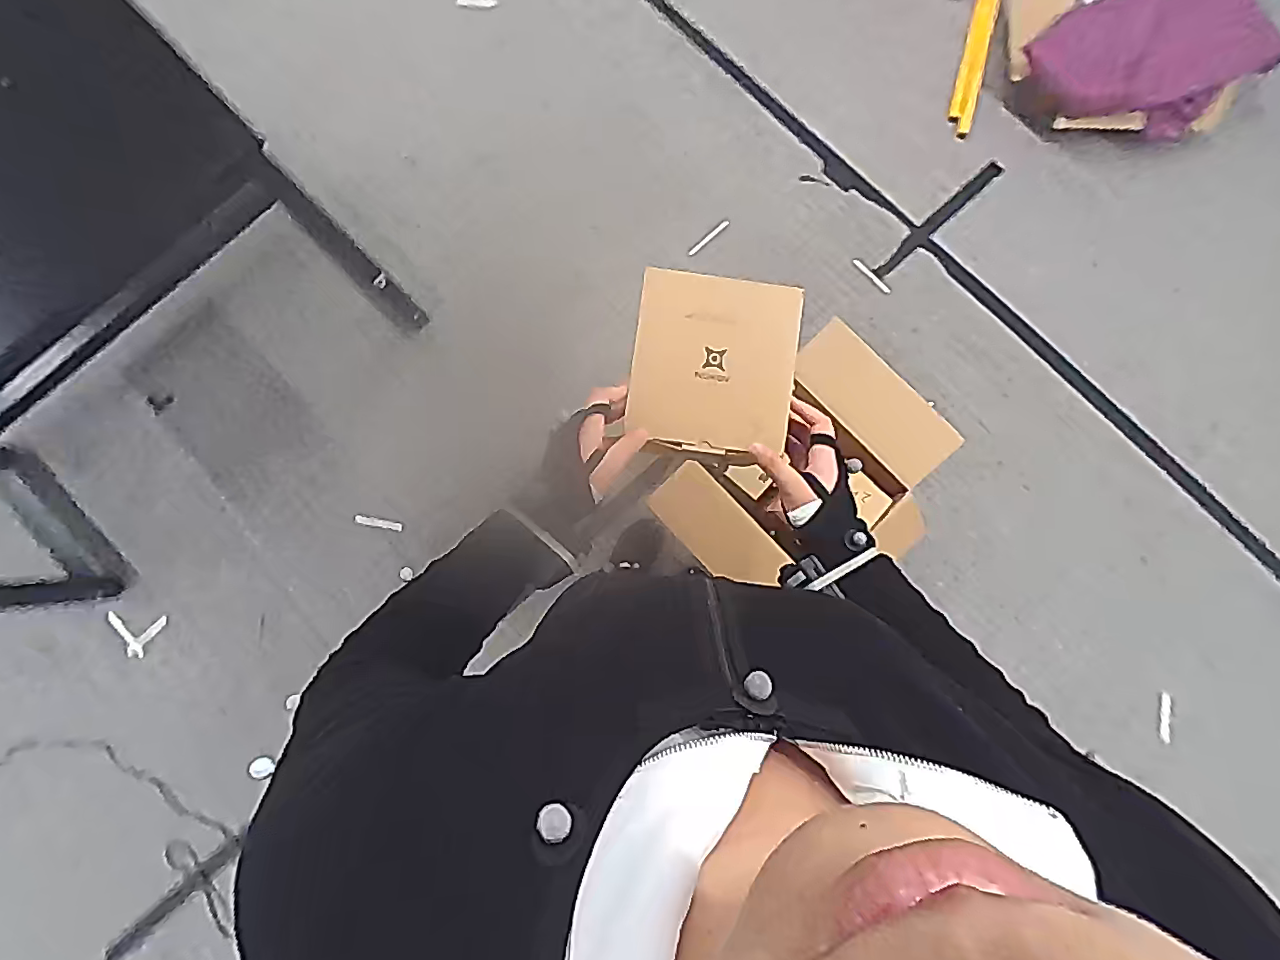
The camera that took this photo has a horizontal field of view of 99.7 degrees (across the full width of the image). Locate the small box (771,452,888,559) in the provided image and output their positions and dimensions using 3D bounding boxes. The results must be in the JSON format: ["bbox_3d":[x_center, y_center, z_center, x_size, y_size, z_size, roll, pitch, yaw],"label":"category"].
[{"bbox_3d":[0.423,0.060,1.249,0.168,0.176,0.179,41,86,1],"label":"small box"}]

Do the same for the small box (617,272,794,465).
[{"bbox_3d":[0.064,-0.113,0.623,0.168,0.176,0.179,6,87,-3],"label":"small box"}]
